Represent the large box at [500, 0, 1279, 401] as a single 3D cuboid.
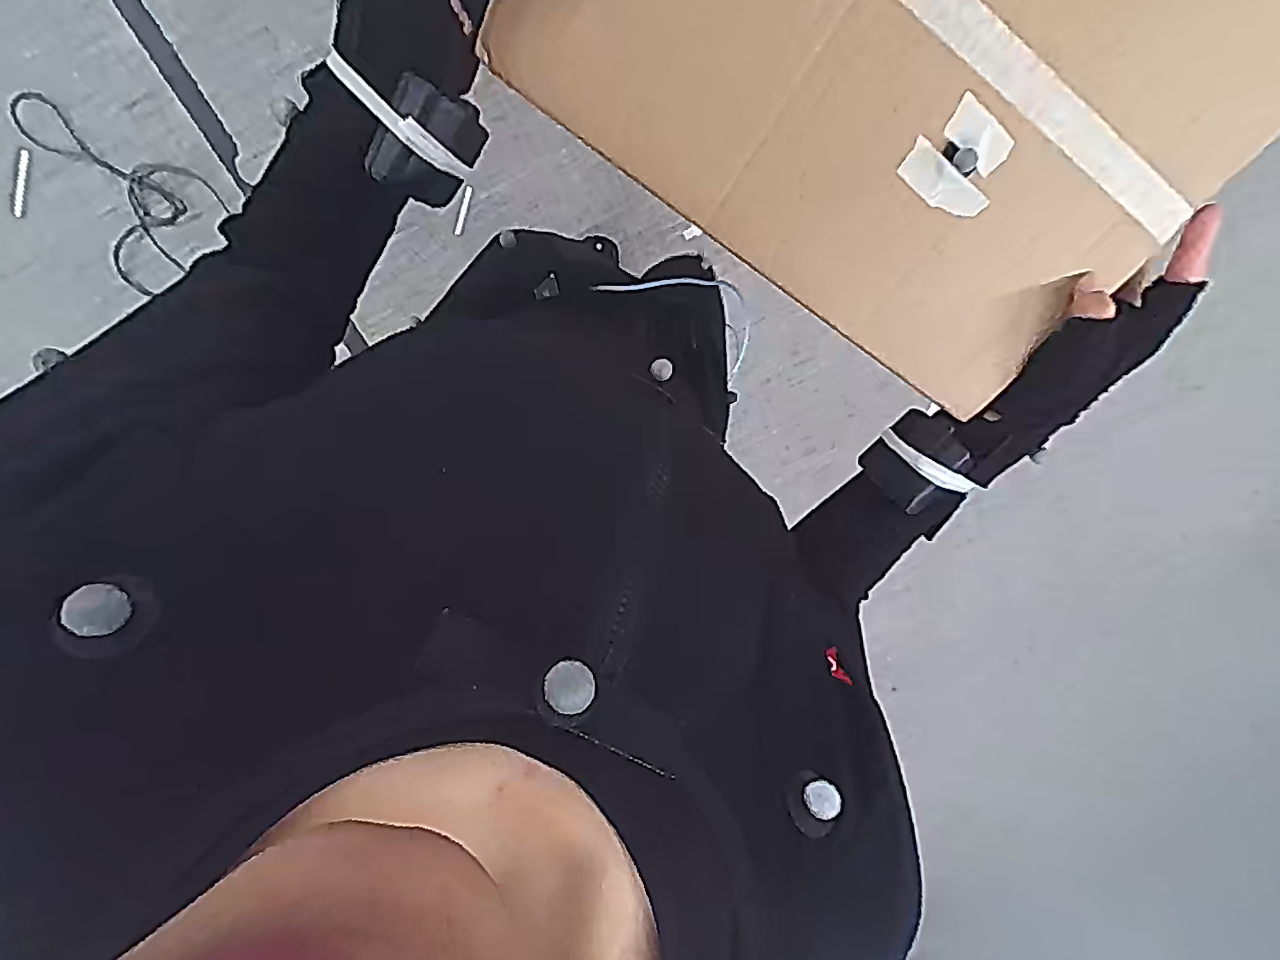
[{"bbox_3d":[0.169,-0.337,0.424,0.408,0.320,0.320,31,119,-14],"label":"large box"}]
